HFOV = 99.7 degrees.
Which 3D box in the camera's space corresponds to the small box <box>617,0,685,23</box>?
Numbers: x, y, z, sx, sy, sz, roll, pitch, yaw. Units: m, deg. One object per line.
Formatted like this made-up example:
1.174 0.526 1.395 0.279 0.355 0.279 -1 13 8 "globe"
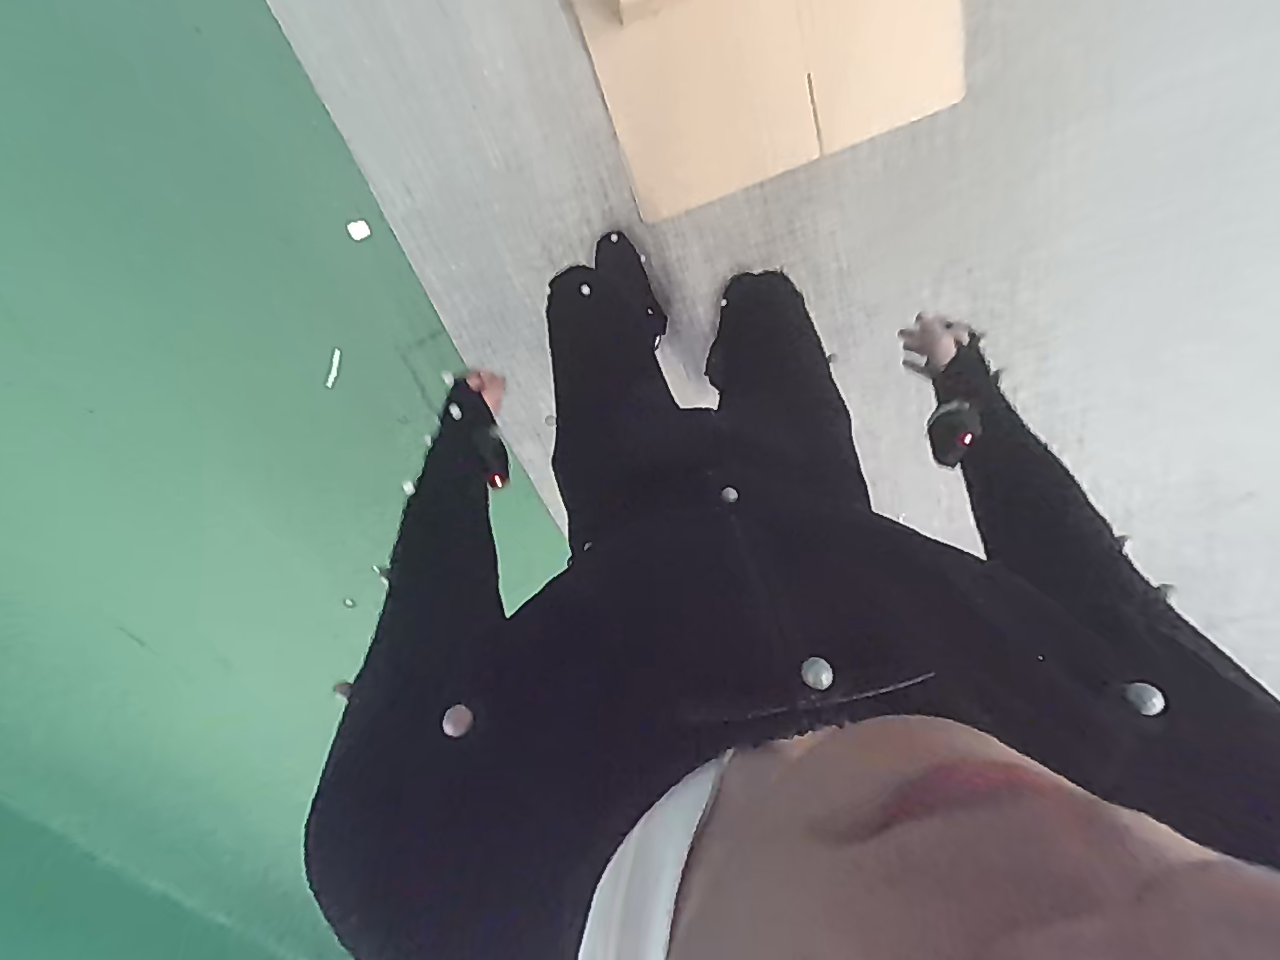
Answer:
0.026 -0.931 0.927 0.179 0.176 0.168 -16 119 11 "small box"
